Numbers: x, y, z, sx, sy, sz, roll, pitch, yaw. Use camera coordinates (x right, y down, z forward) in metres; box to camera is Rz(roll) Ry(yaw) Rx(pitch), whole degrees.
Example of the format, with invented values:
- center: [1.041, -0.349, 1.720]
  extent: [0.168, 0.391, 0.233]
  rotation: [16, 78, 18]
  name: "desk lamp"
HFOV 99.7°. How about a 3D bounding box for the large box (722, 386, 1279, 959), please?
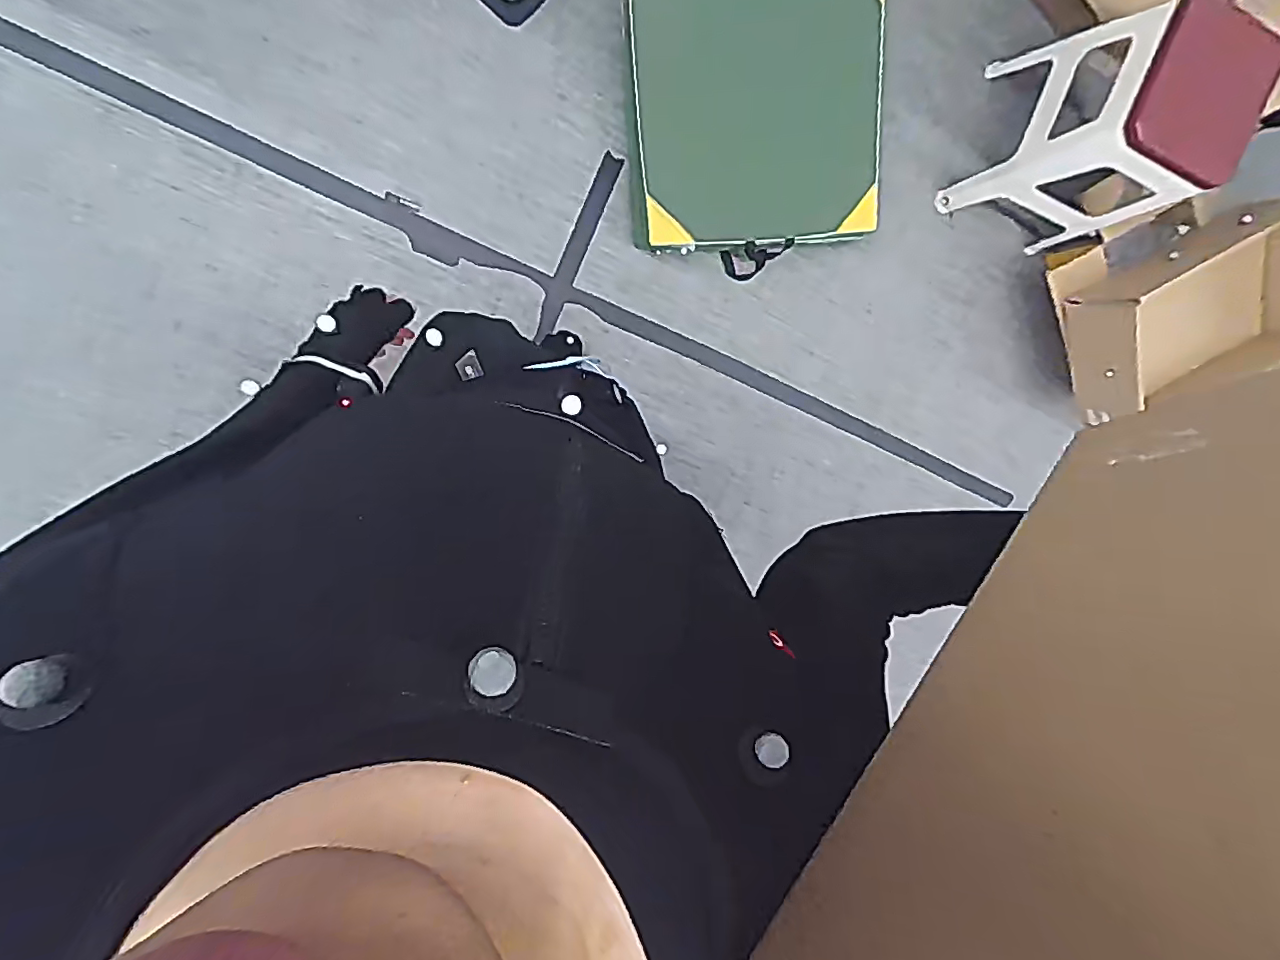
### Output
- center: [0.312, 0.153, 0.152]
  extent: [0.408, 0.320, 0.320]
  rotation: [-34, 93, -30]
  name: "large box"
